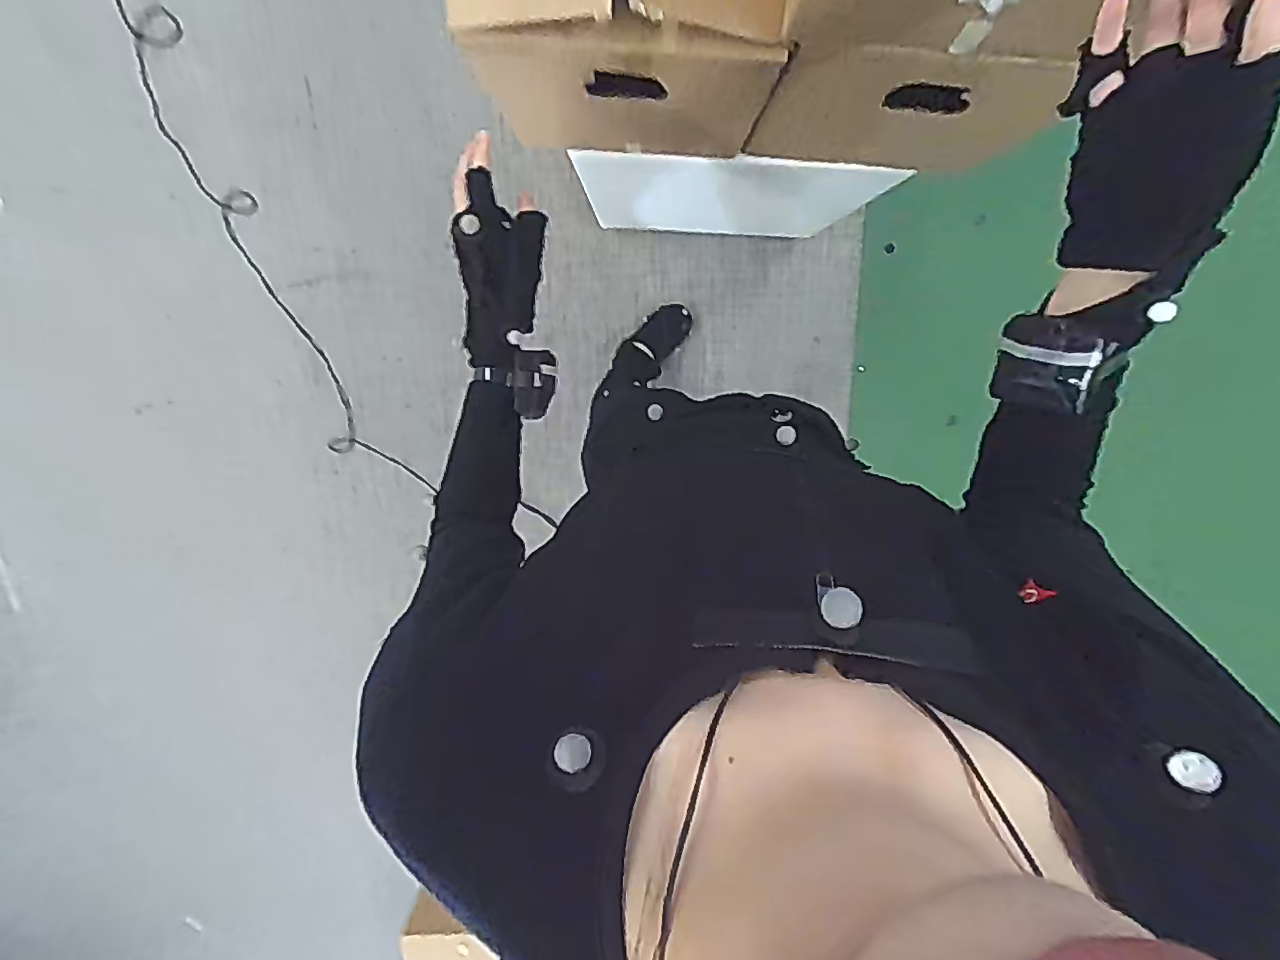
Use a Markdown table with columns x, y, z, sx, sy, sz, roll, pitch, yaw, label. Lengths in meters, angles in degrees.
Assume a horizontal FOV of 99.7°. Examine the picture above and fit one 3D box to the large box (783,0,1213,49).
| x | y | z | sx | sy | sz | roll | pitch | yaw | label |
| --- | --- | --- | --- | --- | --- | --- | --- | --- | --- |
| 0.272 | -0.528 | 0.276 | 0.320 | 0.320 | 0.408 | 5 | 104 | 2 | large box |
